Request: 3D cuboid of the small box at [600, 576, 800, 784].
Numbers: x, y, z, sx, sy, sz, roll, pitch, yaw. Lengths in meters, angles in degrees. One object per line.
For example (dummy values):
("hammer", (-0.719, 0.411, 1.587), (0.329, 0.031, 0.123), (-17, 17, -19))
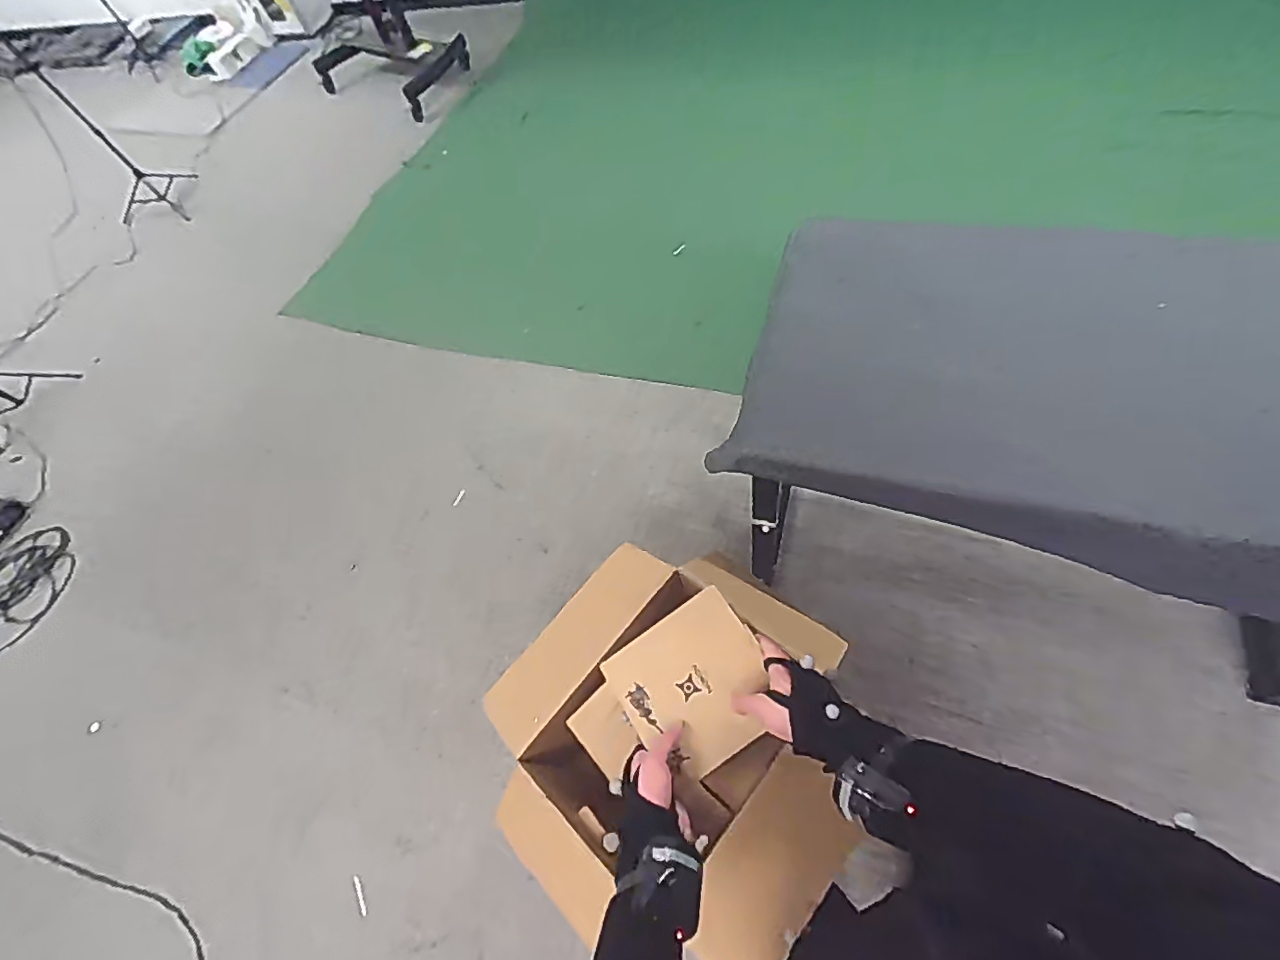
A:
("small box", (0.079, 0.249, 0.689), (0.179, 0.176, 0.168), (-35, 65, -1))
